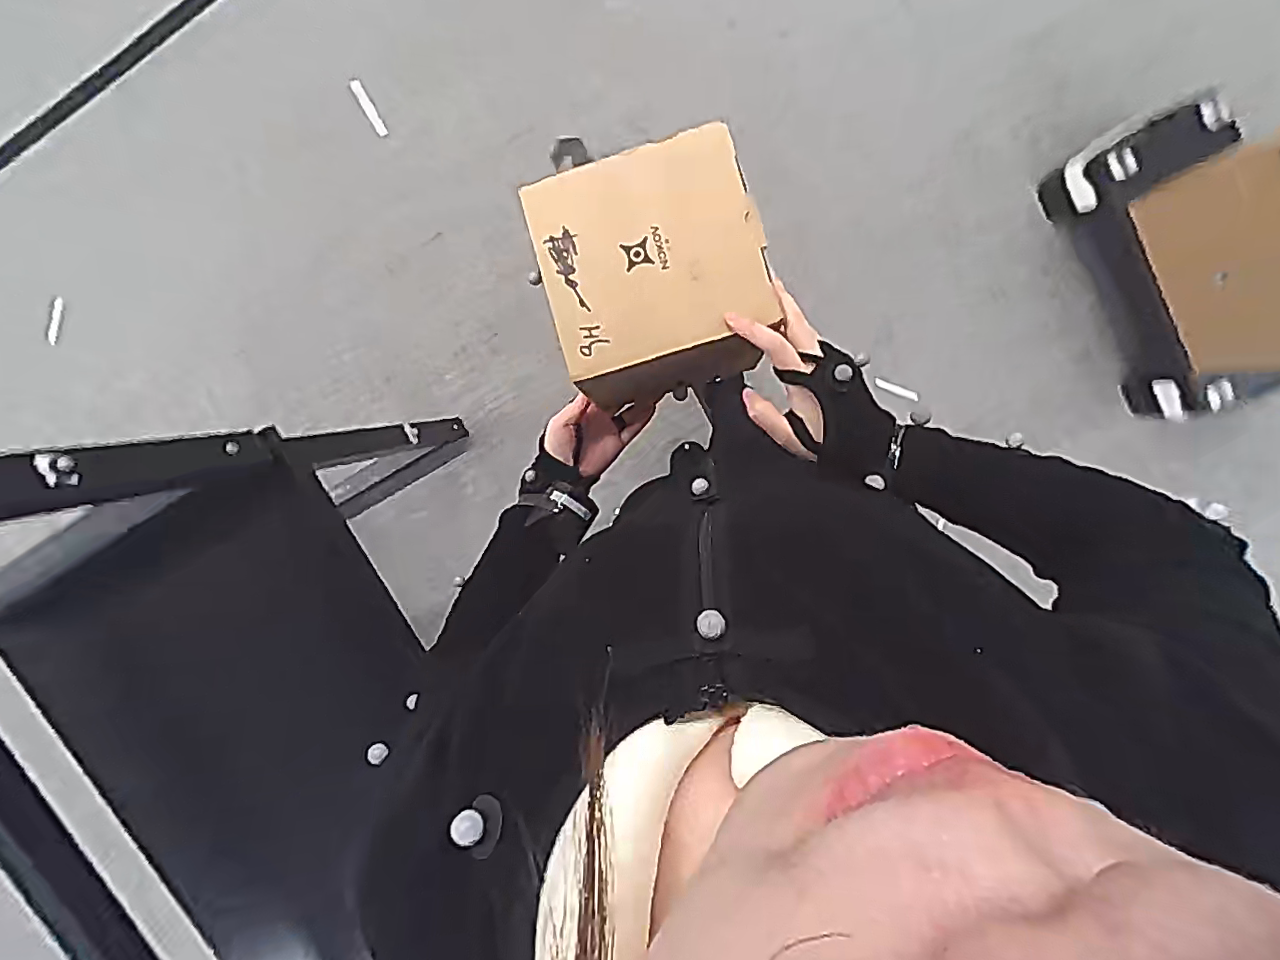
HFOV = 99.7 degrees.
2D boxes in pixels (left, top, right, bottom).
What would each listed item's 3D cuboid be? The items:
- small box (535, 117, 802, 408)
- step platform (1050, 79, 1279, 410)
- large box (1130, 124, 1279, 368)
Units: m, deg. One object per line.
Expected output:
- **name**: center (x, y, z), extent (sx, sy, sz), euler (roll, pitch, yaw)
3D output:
- **small box**: center (0.024, -0.175, 0.491), extent (0.179, 0.176, 0.168), euler (-14, 86, 4)
- **step platform**: center (1.241, -0.512, 1.247), extent (0.286, 0.204, 0.684), euler (-23, 95, 7)
- **large box**: center (1.263, -0.467, 1.011), extent (0.320, 0.320, 0.408), euler (-28, 94, 6)
